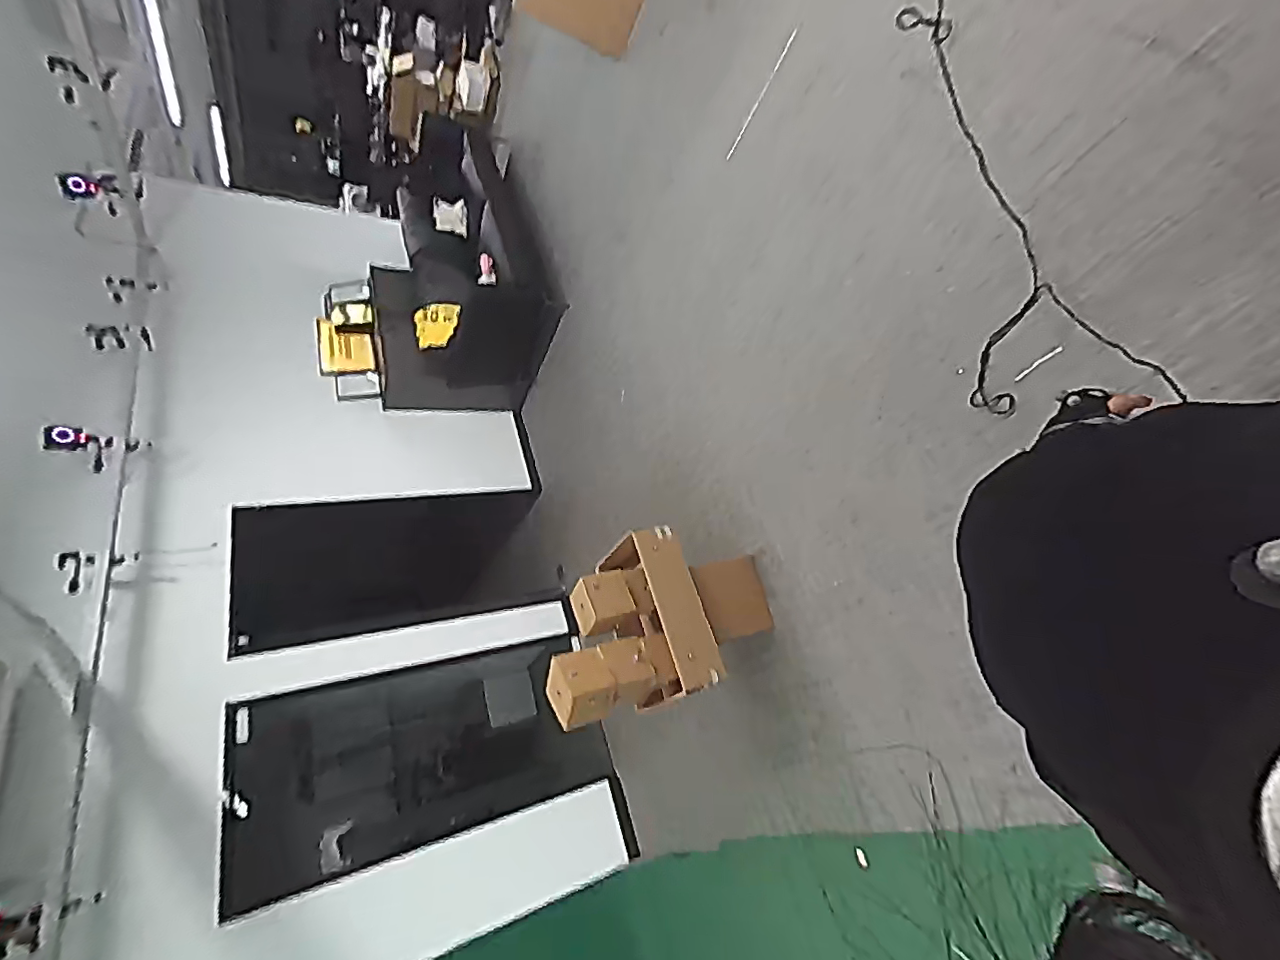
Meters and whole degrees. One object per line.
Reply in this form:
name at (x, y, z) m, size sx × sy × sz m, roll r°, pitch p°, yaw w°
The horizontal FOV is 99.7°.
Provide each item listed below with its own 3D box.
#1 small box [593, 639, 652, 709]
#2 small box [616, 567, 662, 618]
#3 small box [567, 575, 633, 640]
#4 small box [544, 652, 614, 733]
small box at (-0.078, 0.697, 1.932) m, size 0.168 × 0.176 × 0.179 m, roll 56°, pitch 137°, yaw 37°
small box at (-0.027, 0.451, 2.133) m, size 0.179 × 0.176 × 0.168 m, roll -37°, pitch 63°, yaw 53°
small box at (-0.150, 0.469, 2.020) m, size 0.179 × 0.176 × 0.168 m, roll 63°, pitch 143°, yaw 30°
small box at (-0.207, 0.712, 1.832) m, size 0.179 × 0.176 × 0.168 m, roll 43°, pitch 128°, yaw 47°
